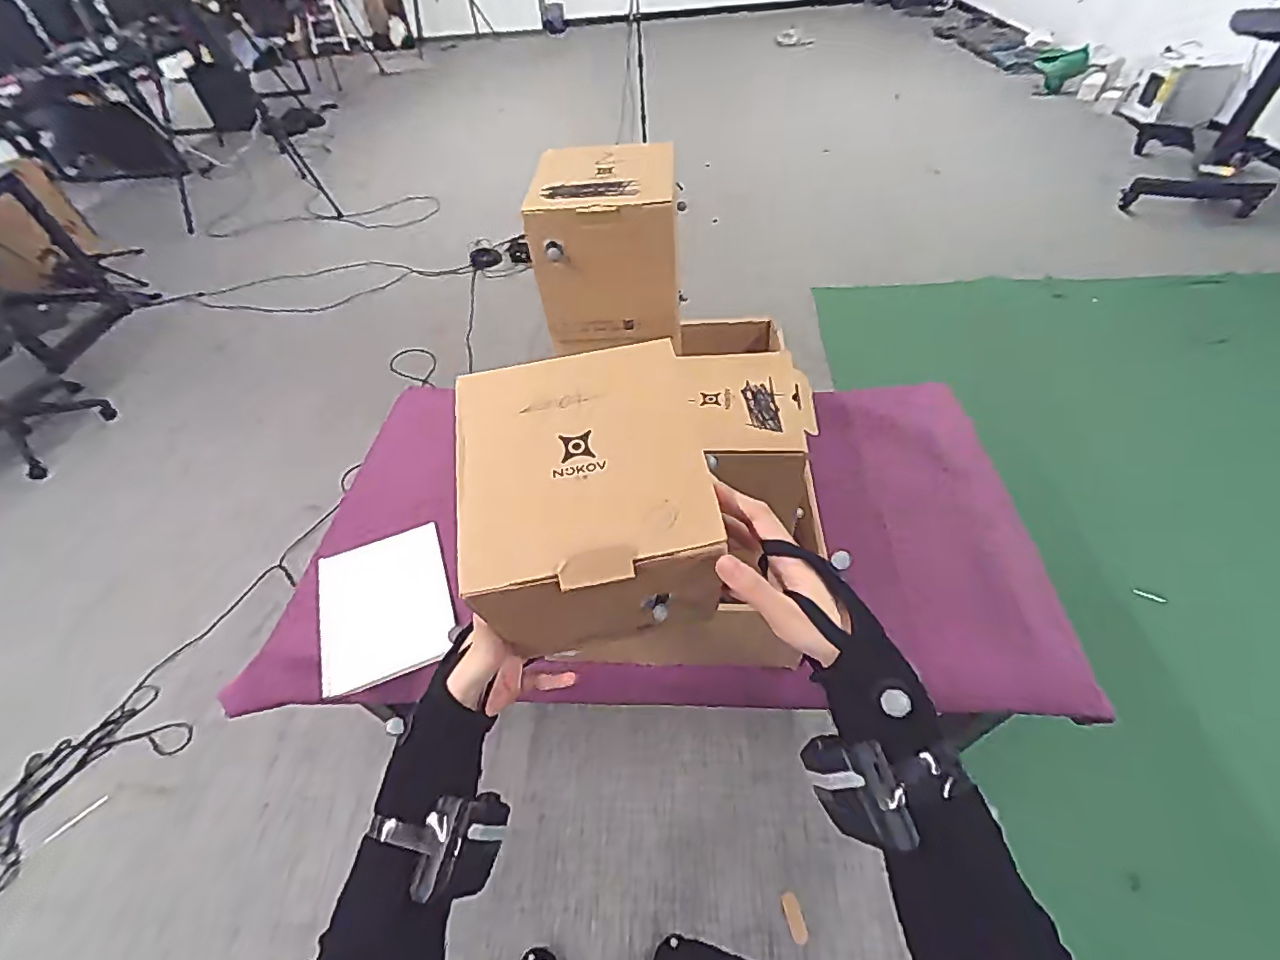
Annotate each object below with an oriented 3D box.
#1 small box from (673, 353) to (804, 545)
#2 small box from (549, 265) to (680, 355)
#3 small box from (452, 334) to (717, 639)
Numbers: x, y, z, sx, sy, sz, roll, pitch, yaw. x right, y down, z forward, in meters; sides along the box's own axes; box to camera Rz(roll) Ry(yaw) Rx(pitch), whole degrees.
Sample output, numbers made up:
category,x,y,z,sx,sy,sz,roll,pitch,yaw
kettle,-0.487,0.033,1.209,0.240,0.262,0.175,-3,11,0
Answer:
category,x,y,z,sx,sy,sz,roll,pitch,yaw
small box,0.092,-0.035,0.653,0.179,0.176,0.168,0,47,8
small box,-0.026,-0.202,0.820,0.168,0.176,0.179,1,50,6
small box,-0.039,0.017,0.433,0.168,0.176,0.179,-10,59,-2
